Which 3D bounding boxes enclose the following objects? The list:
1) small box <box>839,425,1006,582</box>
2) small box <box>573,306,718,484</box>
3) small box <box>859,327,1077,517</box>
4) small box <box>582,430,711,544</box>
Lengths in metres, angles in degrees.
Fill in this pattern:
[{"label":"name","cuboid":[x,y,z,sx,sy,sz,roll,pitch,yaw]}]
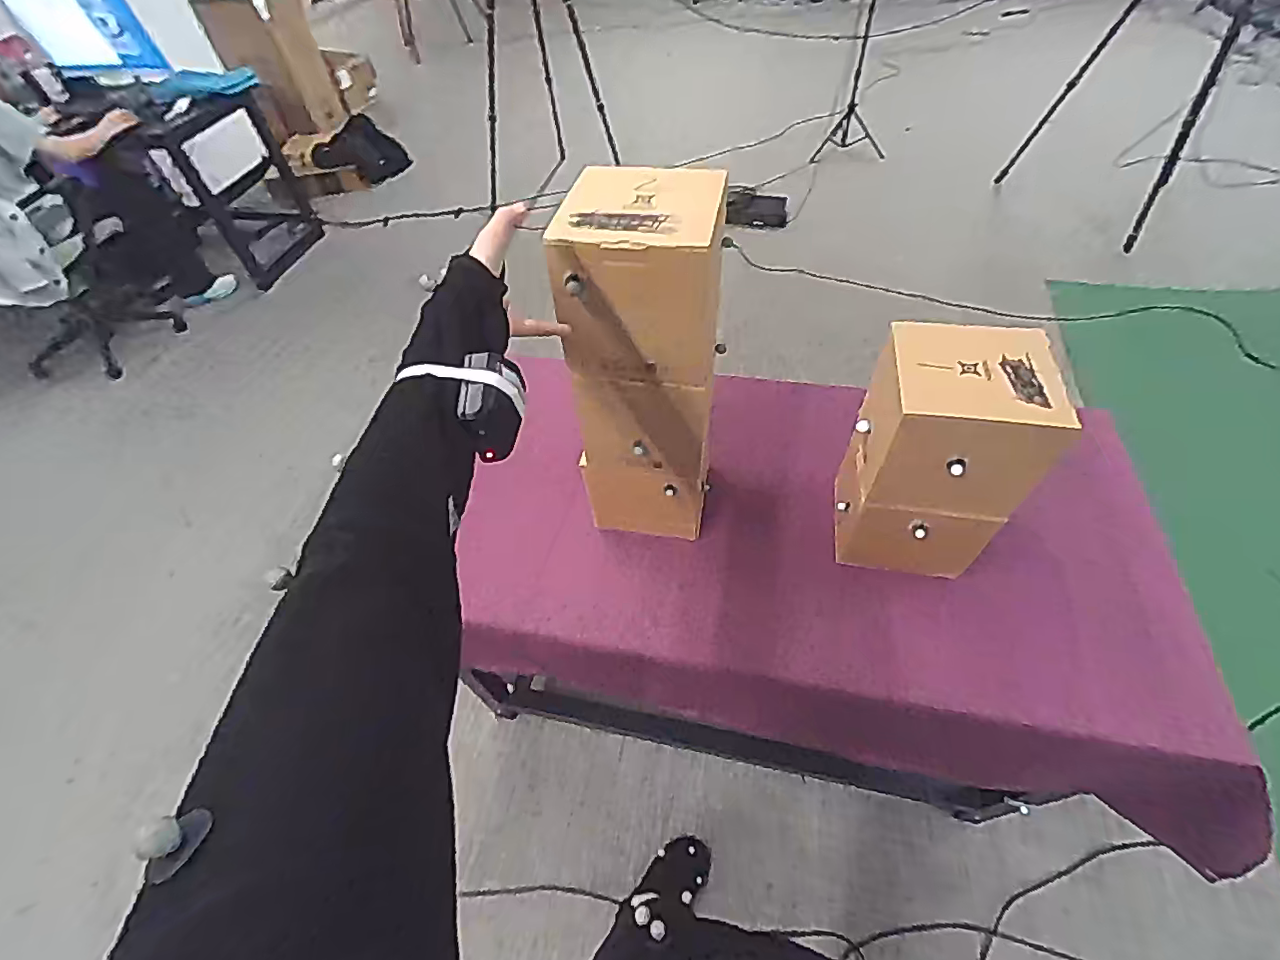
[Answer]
[{"label":"small box","cuboid":[0.401,0.035,0.806,0.179,0.176,0.168,7,53,10]},{"label":"small box","cuboid":[0.016,-0.118,0.755,0.168,0.176,0.179,5,51,9]},{"label":"small box","cuboid":[0.388,-0.069,0.680,0.179,0.176,0.168,6,53,11]},{"label":"small box","cuboid":[0.019,-0.012,0.882,0.179,0.176,0.168,6,52,9]}]
